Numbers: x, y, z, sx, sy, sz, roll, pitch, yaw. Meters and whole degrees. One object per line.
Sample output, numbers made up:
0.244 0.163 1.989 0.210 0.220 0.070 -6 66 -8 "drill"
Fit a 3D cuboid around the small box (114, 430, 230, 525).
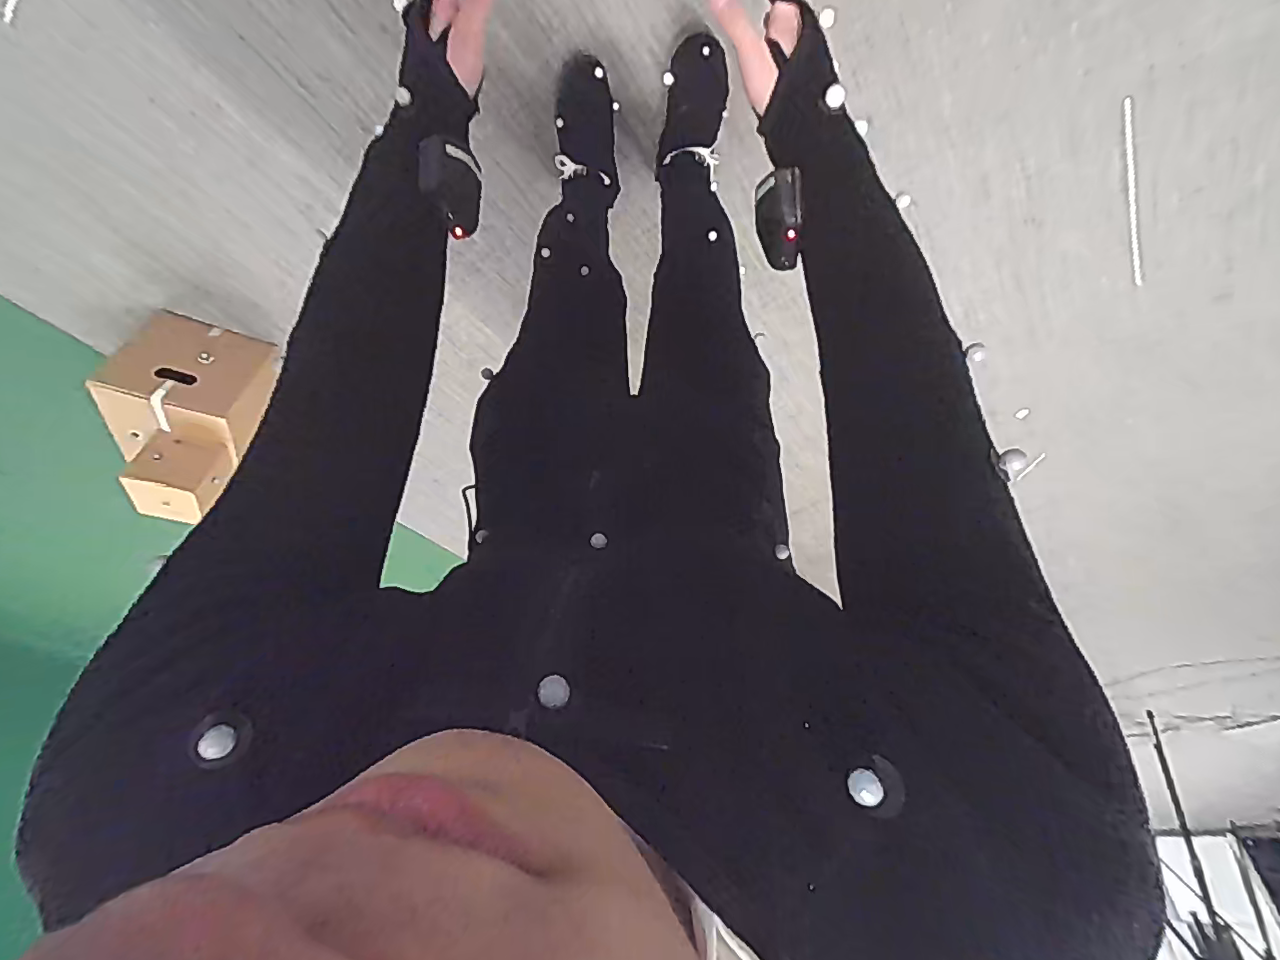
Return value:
-1.249 -0.007 1.459 0.168 0.176 0.179 16 140 -16 "small box"
